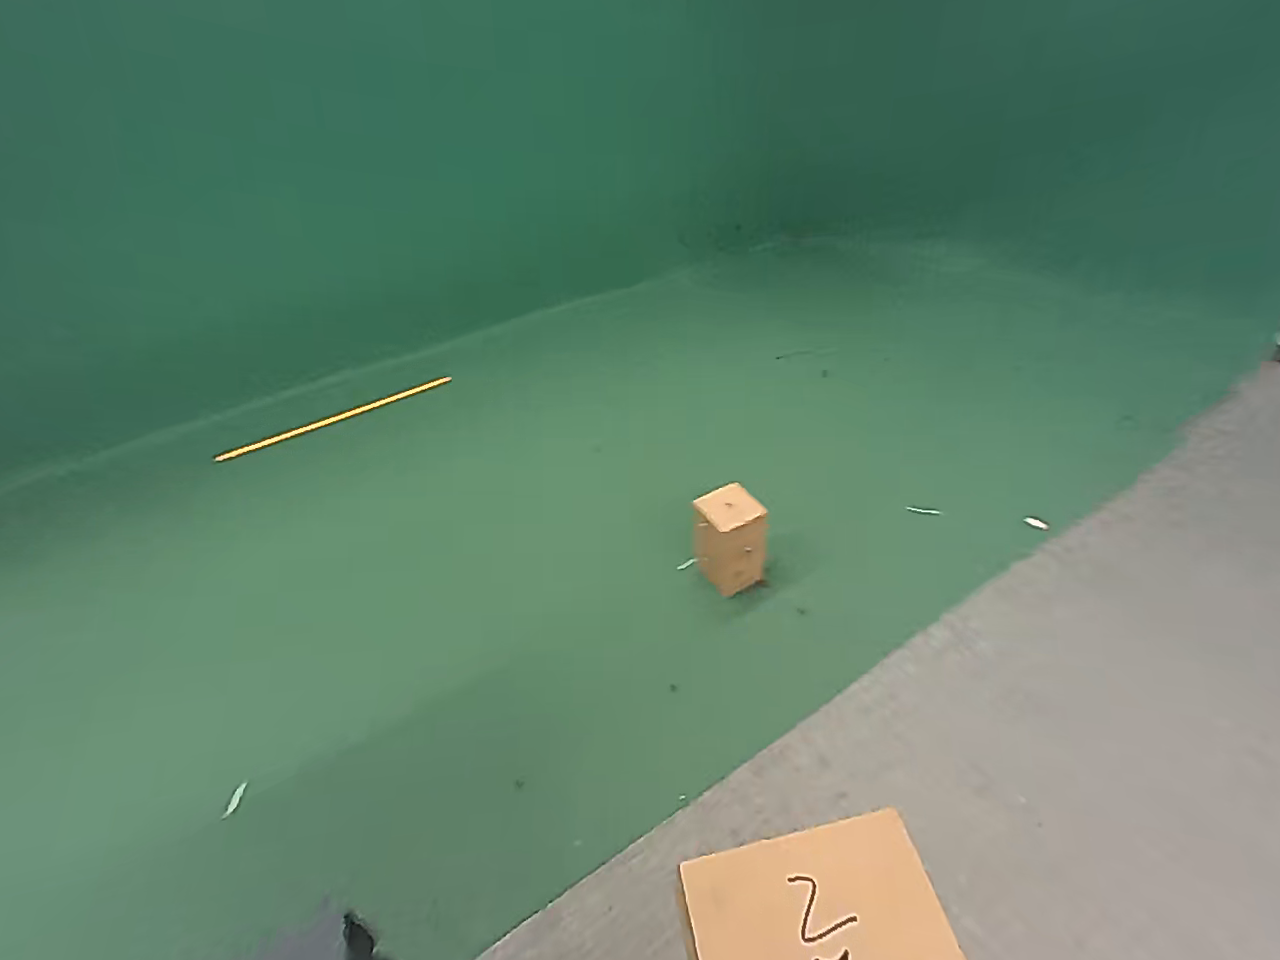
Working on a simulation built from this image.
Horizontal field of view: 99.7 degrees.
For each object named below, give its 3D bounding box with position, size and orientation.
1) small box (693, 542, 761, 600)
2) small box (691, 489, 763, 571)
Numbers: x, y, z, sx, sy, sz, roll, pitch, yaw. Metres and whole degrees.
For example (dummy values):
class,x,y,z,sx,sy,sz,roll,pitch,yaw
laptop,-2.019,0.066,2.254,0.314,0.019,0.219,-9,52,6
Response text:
class,x,y,z,sx,sy,sz,roll,pitch,yaw
small box,0.303,0.291,1.878,0.168,0.176,0.179,-25,42,-19
small box,0.282,0.166,1.772,0.168,0.176,0.179,-23,42,-17
